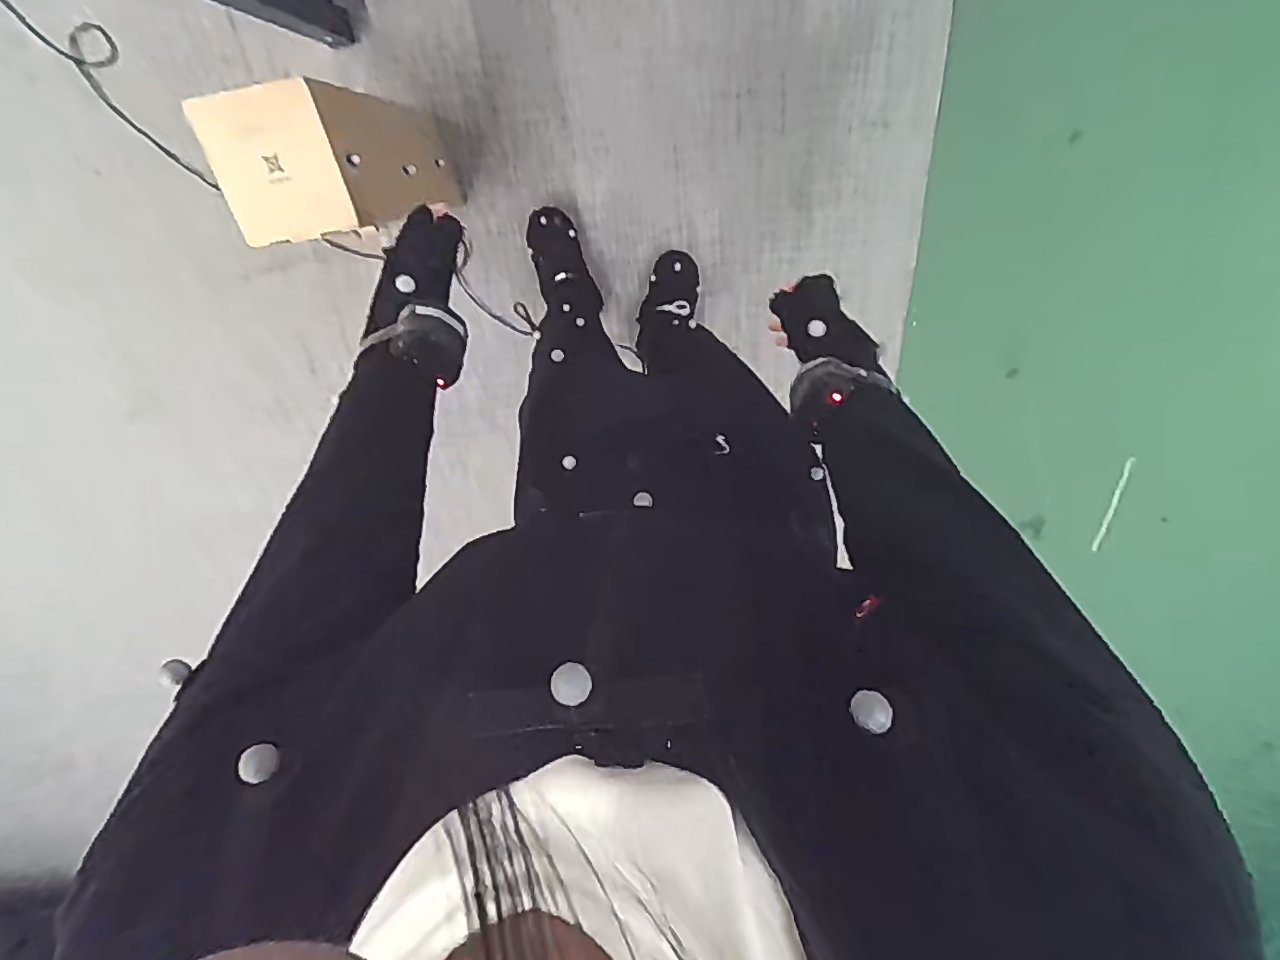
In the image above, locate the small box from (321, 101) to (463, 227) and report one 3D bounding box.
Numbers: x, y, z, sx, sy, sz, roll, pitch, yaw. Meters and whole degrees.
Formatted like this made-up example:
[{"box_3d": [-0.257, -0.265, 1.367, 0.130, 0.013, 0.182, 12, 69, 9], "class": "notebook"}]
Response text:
[{"box_3d": [-0.472, -0.614, 1.061, 0.168, 0.176, 0.179, -11, 120, 6], "class": "small box"}]
